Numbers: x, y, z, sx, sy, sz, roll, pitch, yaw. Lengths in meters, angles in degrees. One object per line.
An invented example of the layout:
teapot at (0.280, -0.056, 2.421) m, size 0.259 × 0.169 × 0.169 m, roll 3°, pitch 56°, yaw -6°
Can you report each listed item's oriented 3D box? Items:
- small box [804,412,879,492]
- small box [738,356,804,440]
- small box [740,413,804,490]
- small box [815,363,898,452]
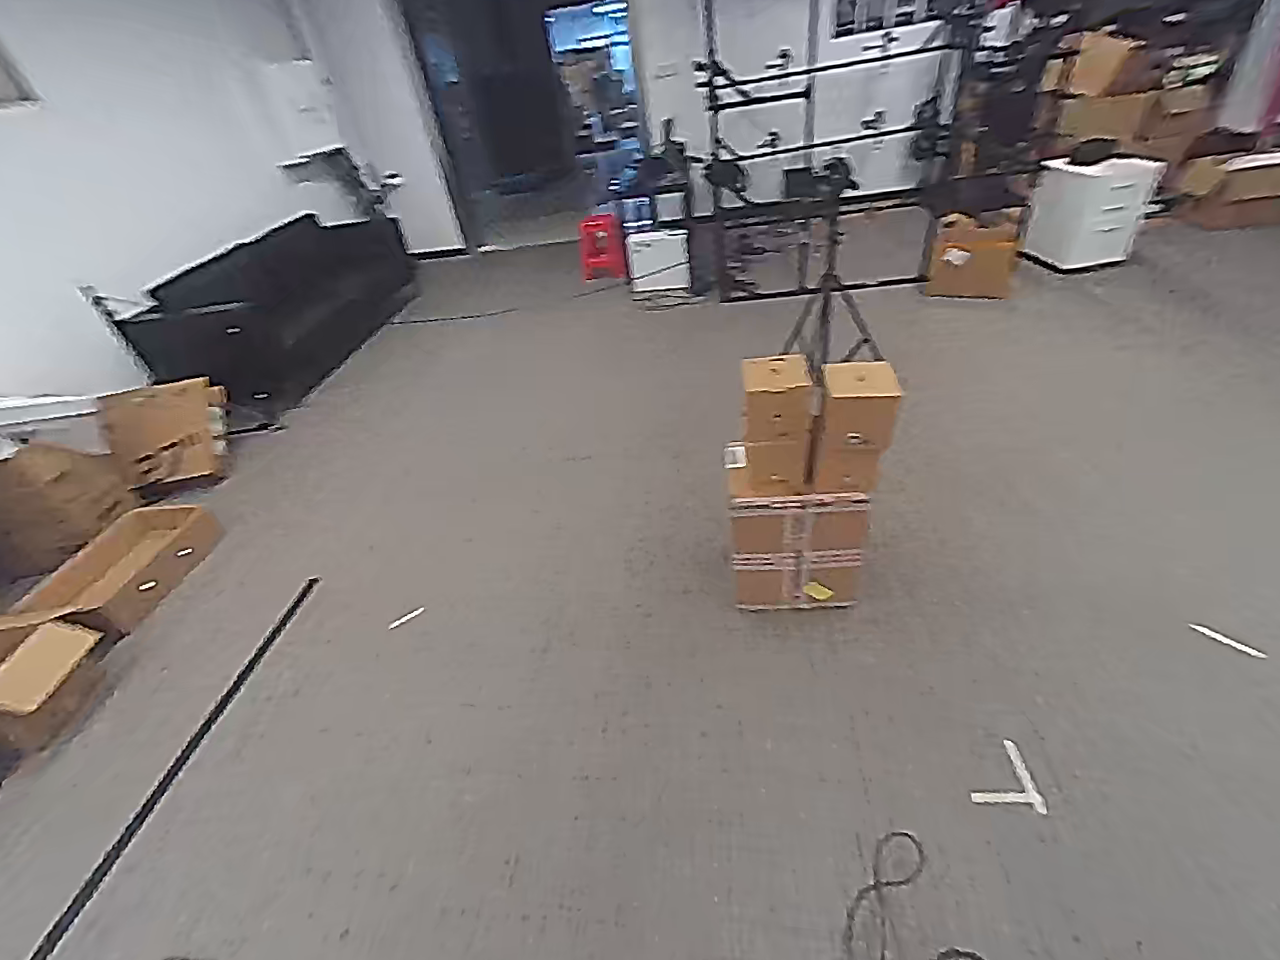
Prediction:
small box at (0.573, -0.082, 1.559) m, size 0.168 × 0.176 × 0.179 m, roll -2°, pitch 40°, yaw 8°
small box at (0.365, -0.223, 1.514) m, size 0.168 × 0.176 × 0.179 m, roll -4°, pitch 41°, yaw 10°
small box at (0.386, -0.091, 1.610) m, size 0.168 × 0.176 × 0.179 m, roll -5°, pitch 41°, yaw 8°
small box at (0.565, -0.193, 1.436) m, size 0.168 × 0.176 × 0.179 m, roll -1°, pitch 41°, yaw 9°
